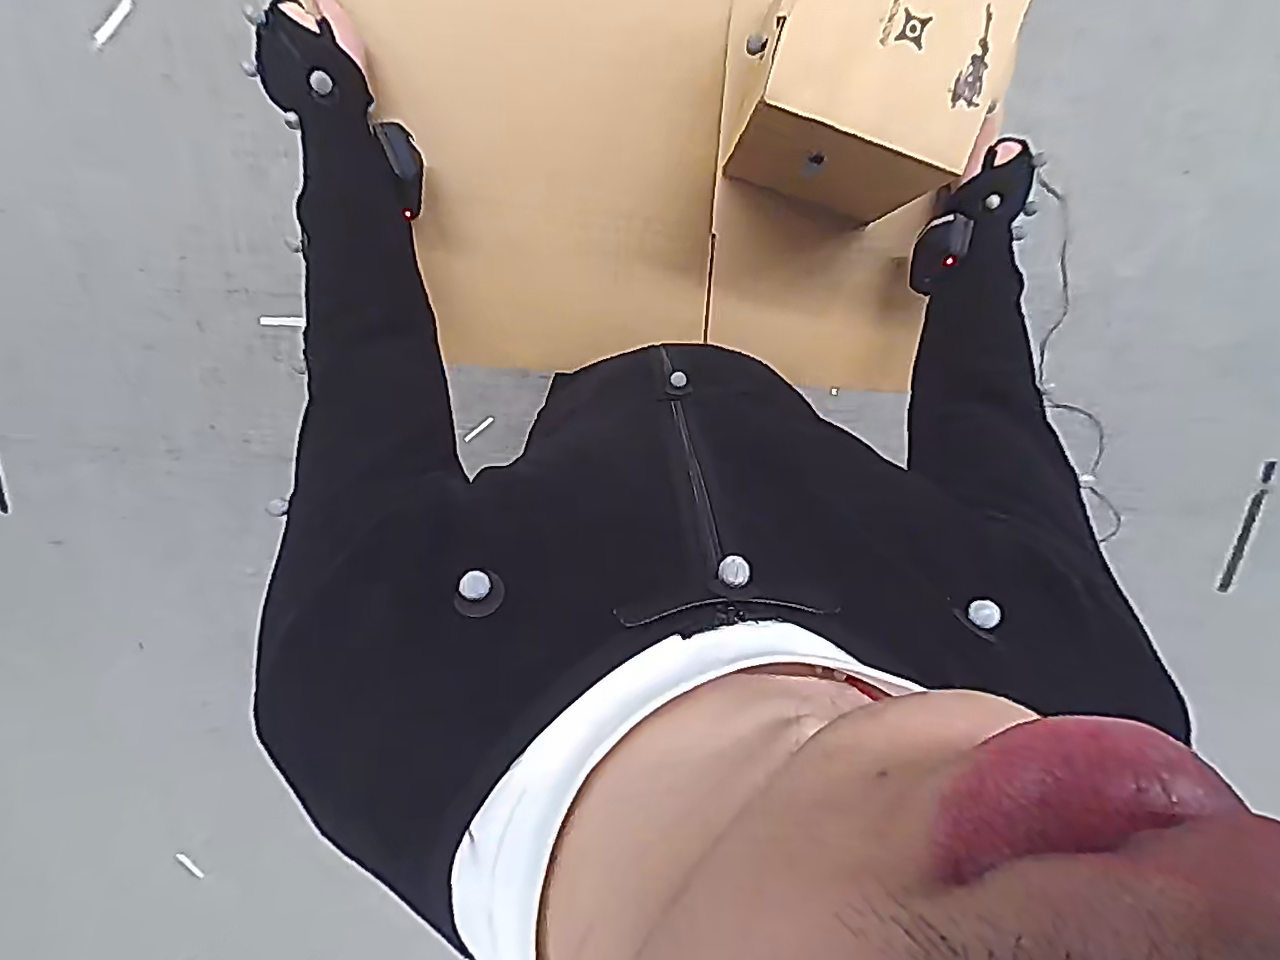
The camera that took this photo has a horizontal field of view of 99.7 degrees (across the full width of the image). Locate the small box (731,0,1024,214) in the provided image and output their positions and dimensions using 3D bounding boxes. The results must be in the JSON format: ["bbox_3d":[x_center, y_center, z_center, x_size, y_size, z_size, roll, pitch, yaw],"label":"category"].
[{"bbox_3d":[0.197,-0.367,0.492,0.179,0.176,0.168,17,102,-4],"label":"small box"}]
